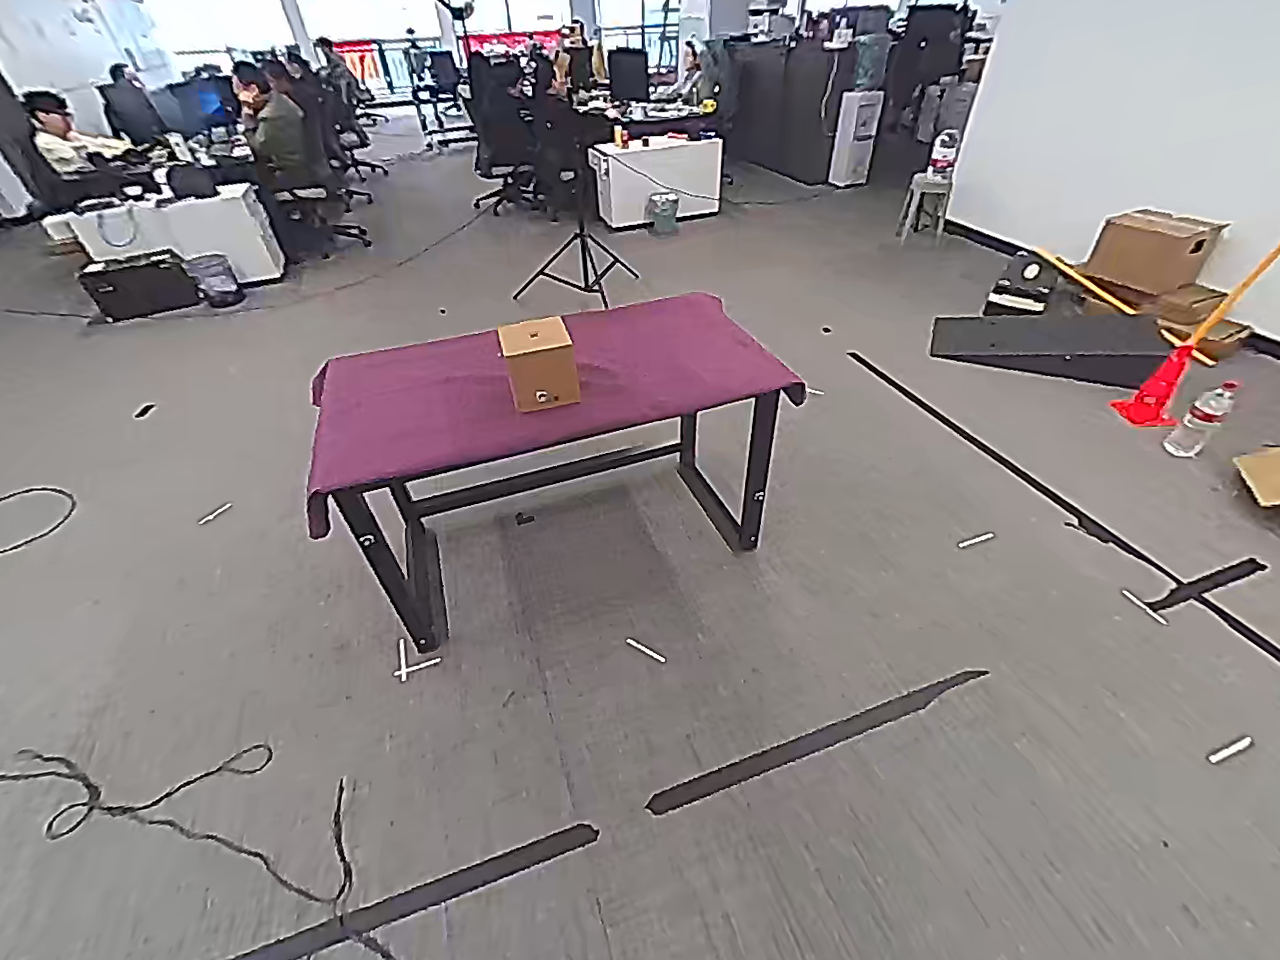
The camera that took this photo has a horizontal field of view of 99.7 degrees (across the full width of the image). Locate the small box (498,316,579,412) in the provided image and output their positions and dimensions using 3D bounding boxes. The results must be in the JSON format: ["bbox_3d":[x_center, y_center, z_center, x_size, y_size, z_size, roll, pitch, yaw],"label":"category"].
[{"bbox_3d":[-0.261,-0.299,1.393,0.168,0.176,0.179,-14,43,-11],"label":"small box"}]
